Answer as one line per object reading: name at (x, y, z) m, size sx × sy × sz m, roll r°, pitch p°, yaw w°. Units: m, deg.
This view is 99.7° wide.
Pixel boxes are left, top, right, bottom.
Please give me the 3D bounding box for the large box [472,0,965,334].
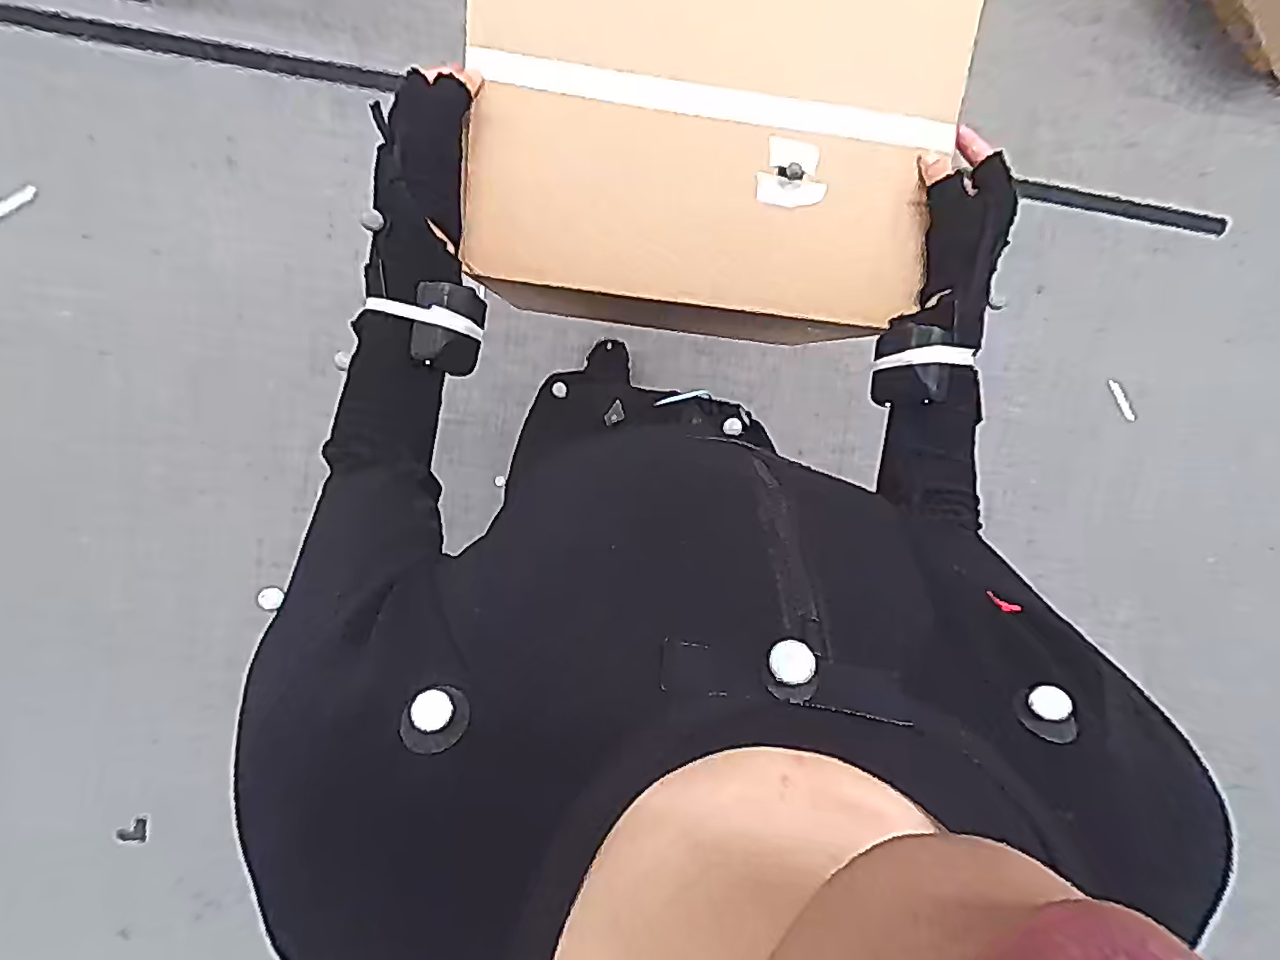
large box at (0.052, -0.348, 0.601) m, size 0.408 × 0.320 × 0.320 m, roll 6°, pitch 102°, yaw -6°
